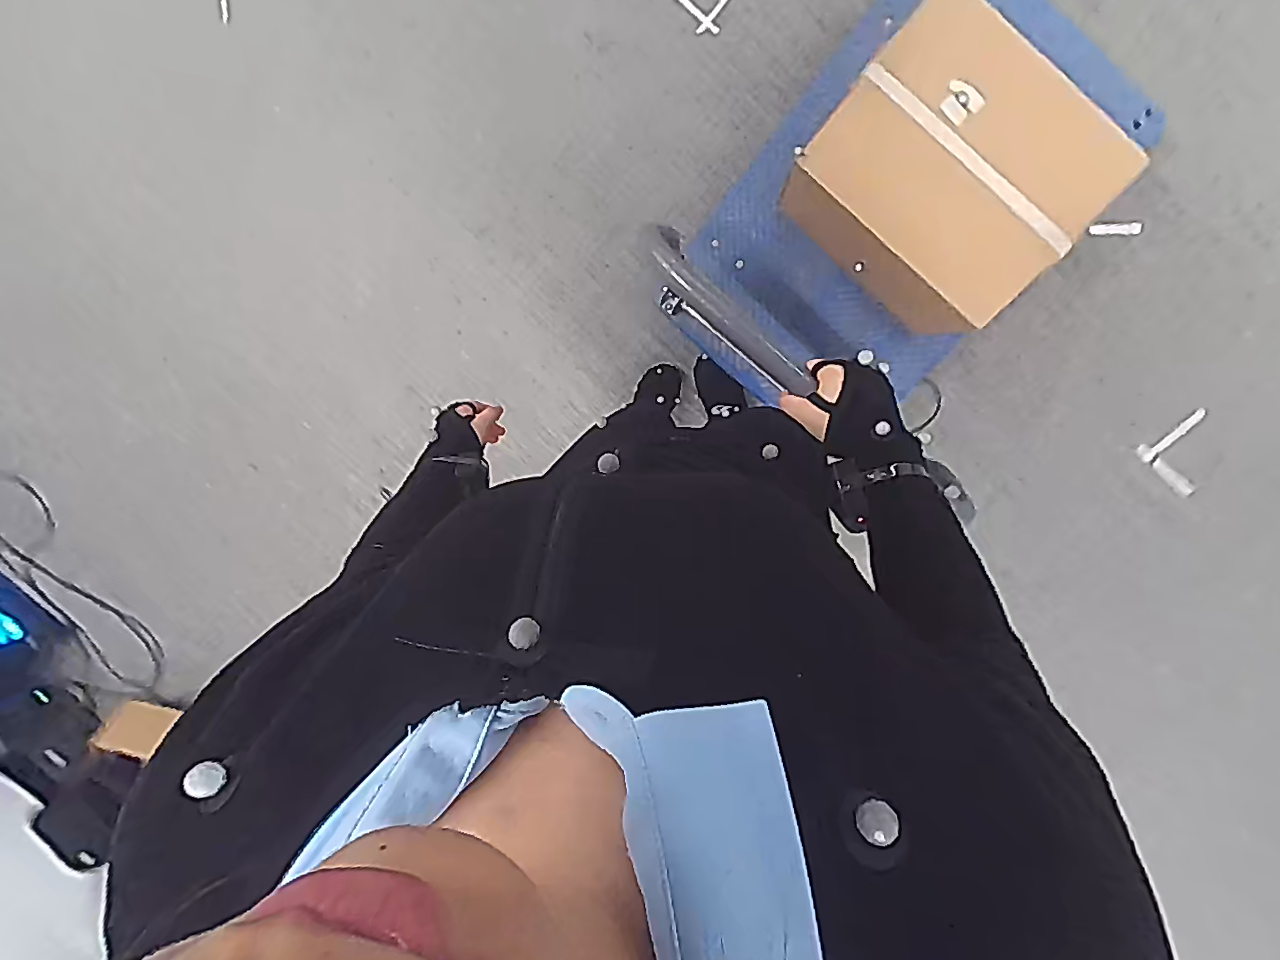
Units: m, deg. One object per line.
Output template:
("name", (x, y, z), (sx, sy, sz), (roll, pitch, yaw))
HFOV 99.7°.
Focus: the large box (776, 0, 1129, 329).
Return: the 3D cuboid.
("large box", (0.509, -0.525, 0.982), (0.408, 0.320, 0.320), (40, 105, -1))
